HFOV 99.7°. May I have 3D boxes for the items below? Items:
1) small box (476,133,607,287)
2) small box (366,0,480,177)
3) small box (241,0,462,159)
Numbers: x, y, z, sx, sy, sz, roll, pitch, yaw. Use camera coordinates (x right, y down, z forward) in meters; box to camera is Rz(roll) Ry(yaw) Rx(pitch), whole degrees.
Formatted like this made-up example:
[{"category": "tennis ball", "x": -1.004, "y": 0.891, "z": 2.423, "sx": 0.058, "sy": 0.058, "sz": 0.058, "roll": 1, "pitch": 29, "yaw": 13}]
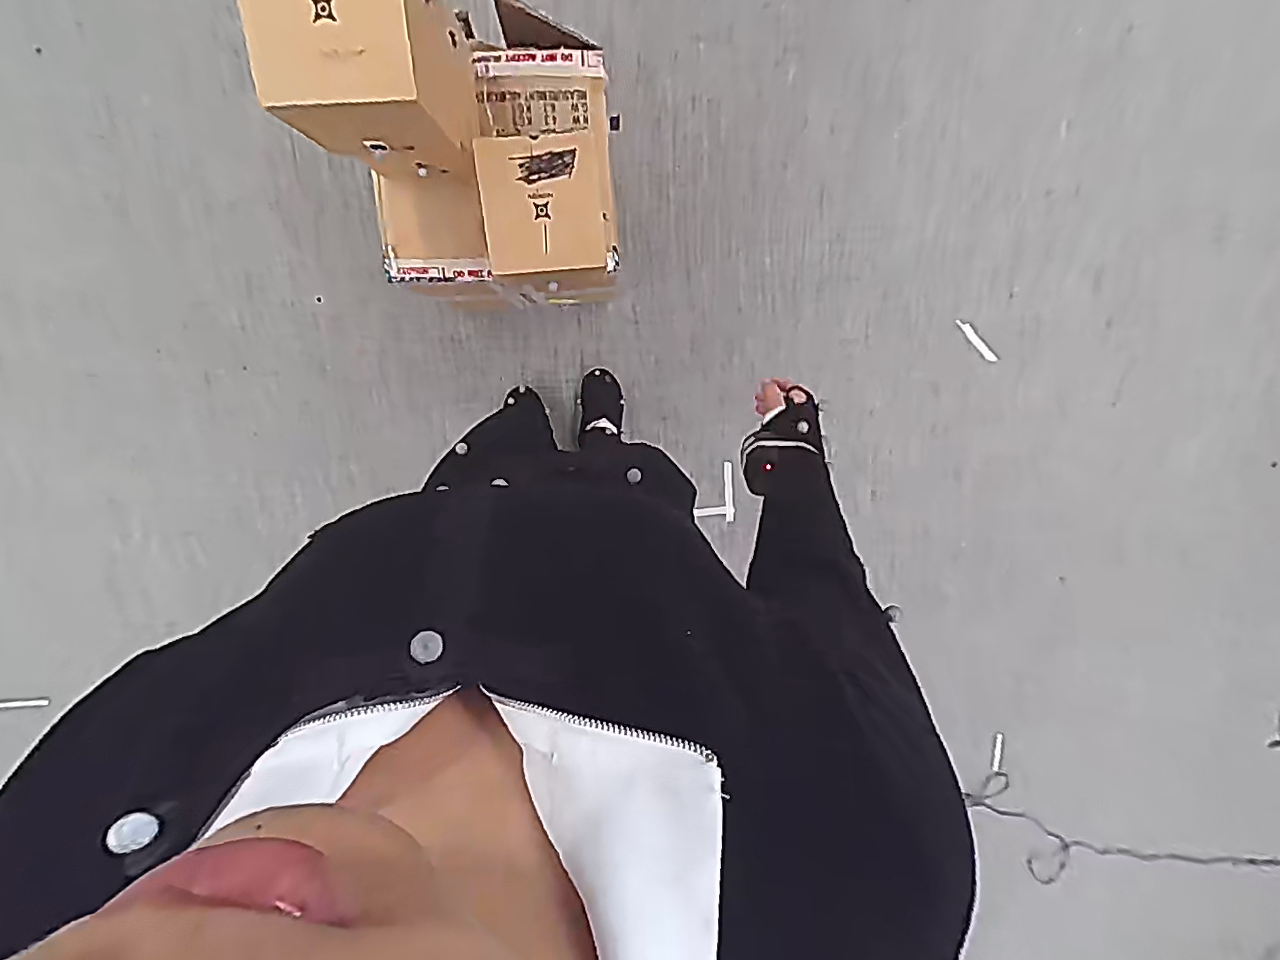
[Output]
[{"category": "small box", "x": -0.140, "y": -0.397, "z": 0.820, "sx": 0.168, "sy": 0.176, "sz": 0.179, "roll": -5, "pitch": 105, "yaw": -3}, {"category": "small box", "x": -0.331, "y": -0.552, "z": 0.768, "sx": 0.168, "sy": 0.176, "sz": 0.179, "roll": -3, "pitch": 105, "yaw": -2}, {"category": "small box", "x": -0.315, "y": -0.492, "z": 0.616, "sx": 0.168, "sy": 0.176, "sz": 0.179, "roll": -4, "pitch": 106, "yaw": -1}]
